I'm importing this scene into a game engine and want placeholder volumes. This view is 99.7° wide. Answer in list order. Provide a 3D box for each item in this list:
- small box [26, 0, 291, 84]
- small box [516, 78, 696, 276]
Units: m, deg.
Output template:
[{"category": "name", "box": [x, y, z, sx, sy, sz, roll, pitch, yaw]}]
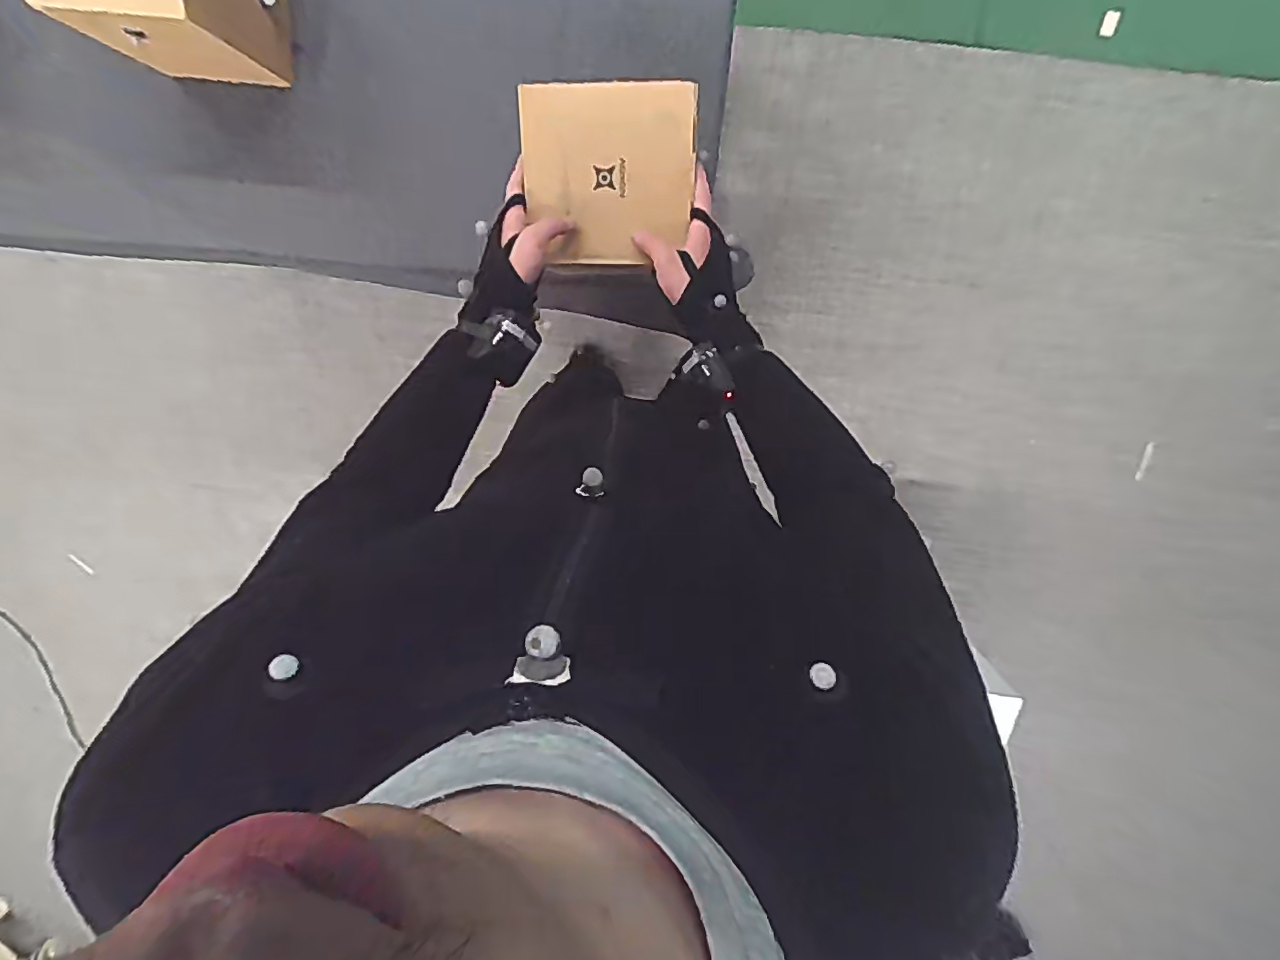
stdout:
[{"category": "small box", "box": [-0.541, -0.583, 0.615, 0.179, 0.176, 0.168, 7, 107, 2]}, {"category": "small box", "box": [-0.028, -0.326, 0.613, 0.179, 0.176, 0.168, 1, 107, 5]}]
